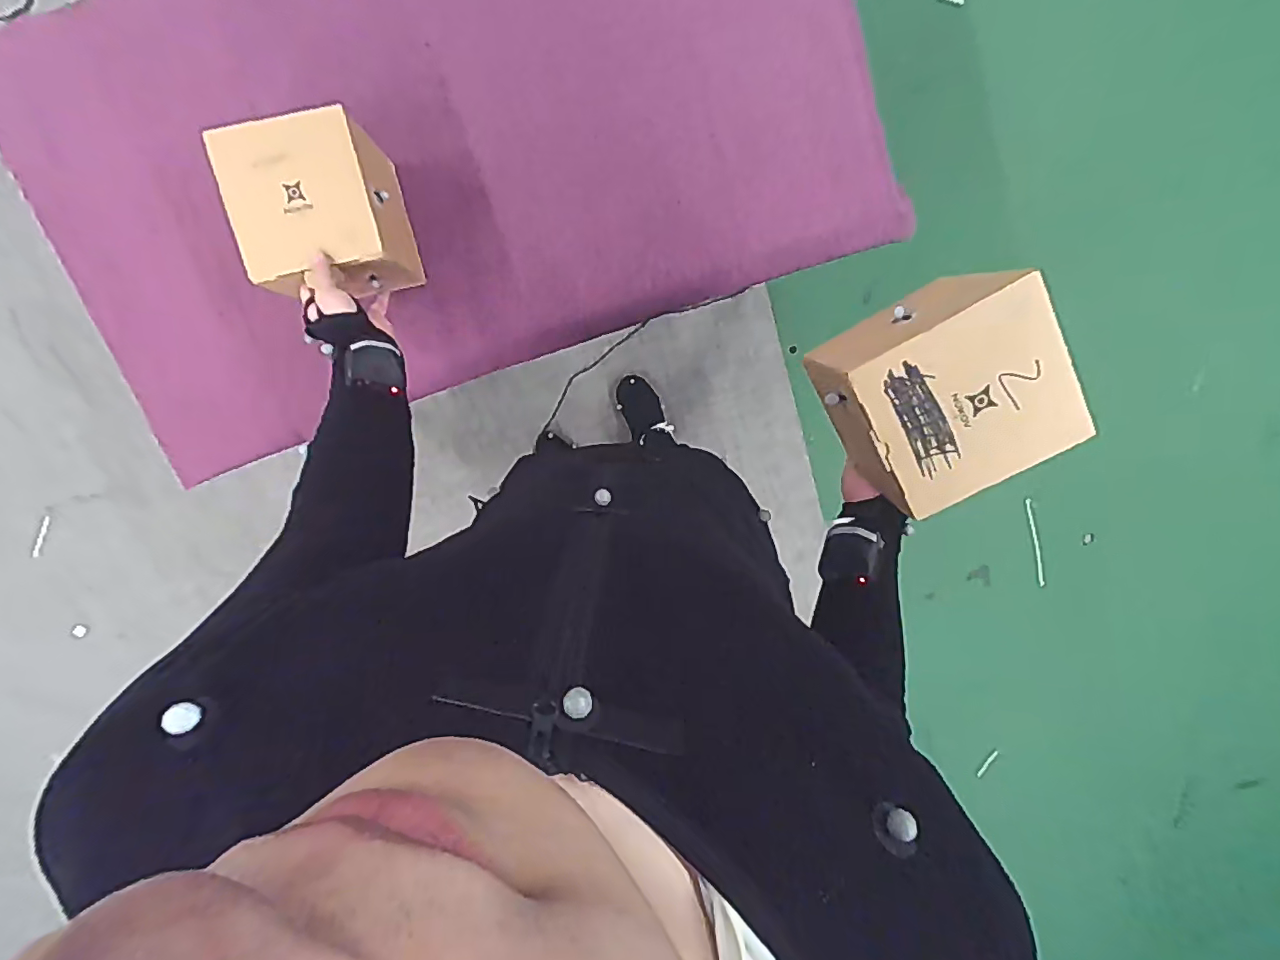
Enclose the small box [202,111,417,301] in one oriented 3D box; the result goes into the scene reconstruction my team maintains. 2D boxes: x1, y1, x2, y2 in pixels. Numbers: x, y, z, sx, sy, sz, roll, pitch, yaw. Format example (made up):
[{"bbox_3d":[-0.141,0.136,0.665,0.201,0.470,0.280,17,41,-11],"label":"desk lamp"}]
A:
[{"bbox_3d":[-0.421,-0.348,0.725,0.168,0.176,0.179,-13,99,-3],"label":"small box"}]
